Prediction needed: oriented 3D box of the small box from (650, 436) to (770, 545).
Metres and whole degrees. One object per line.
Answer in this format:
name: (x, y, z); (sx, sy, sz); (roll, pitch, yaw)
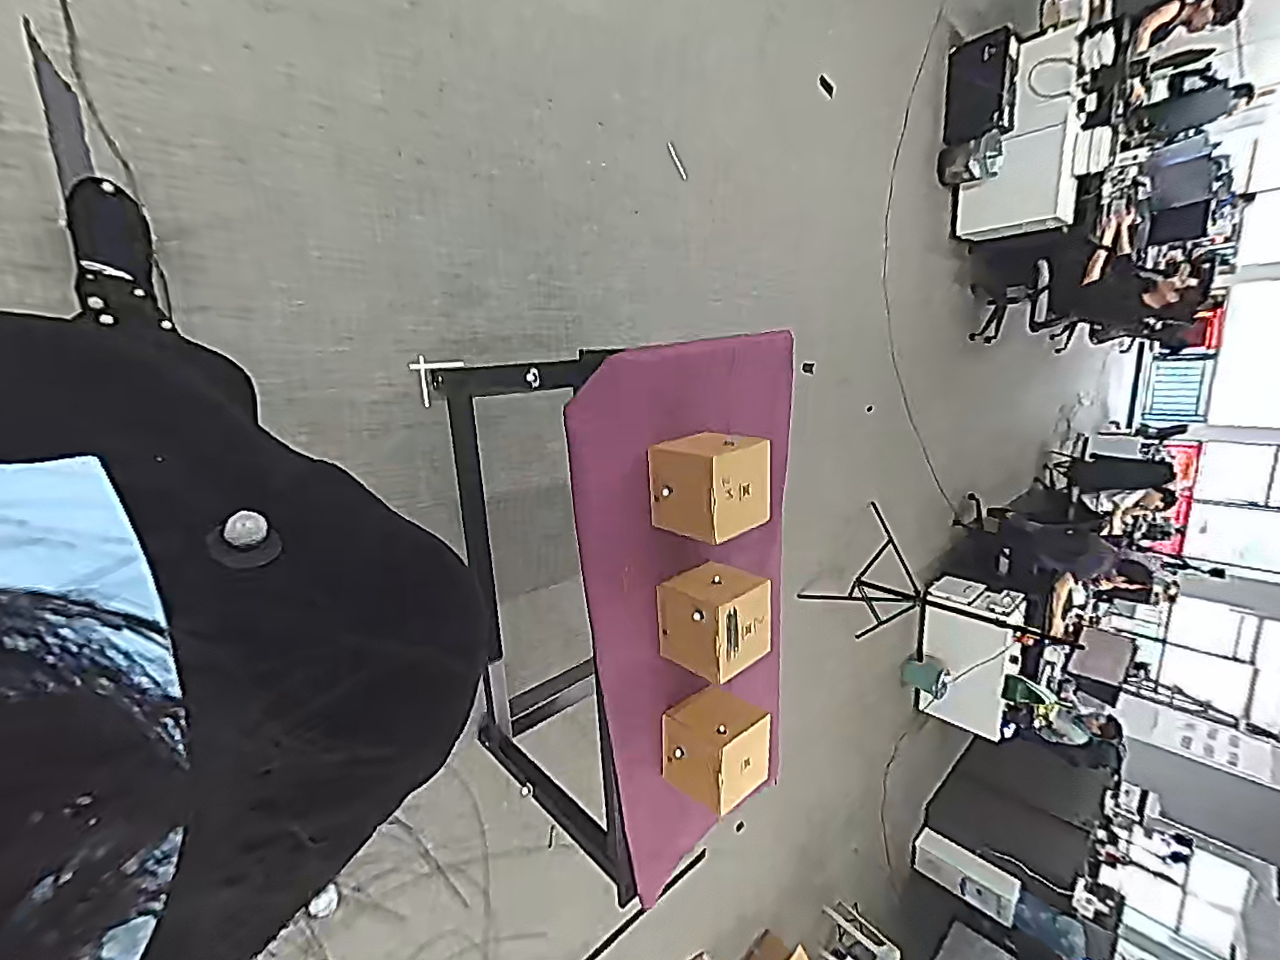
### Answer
small box: (0.139, 0.011, 1.075); (0.179, 0.176, 0.168); (-16, 109, -40)

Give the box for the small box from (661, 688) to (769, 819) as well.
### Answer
small box: (0.167, 0.597, 1.210); (0.179, 0.176, 0.168); (-10, 104, -42)
